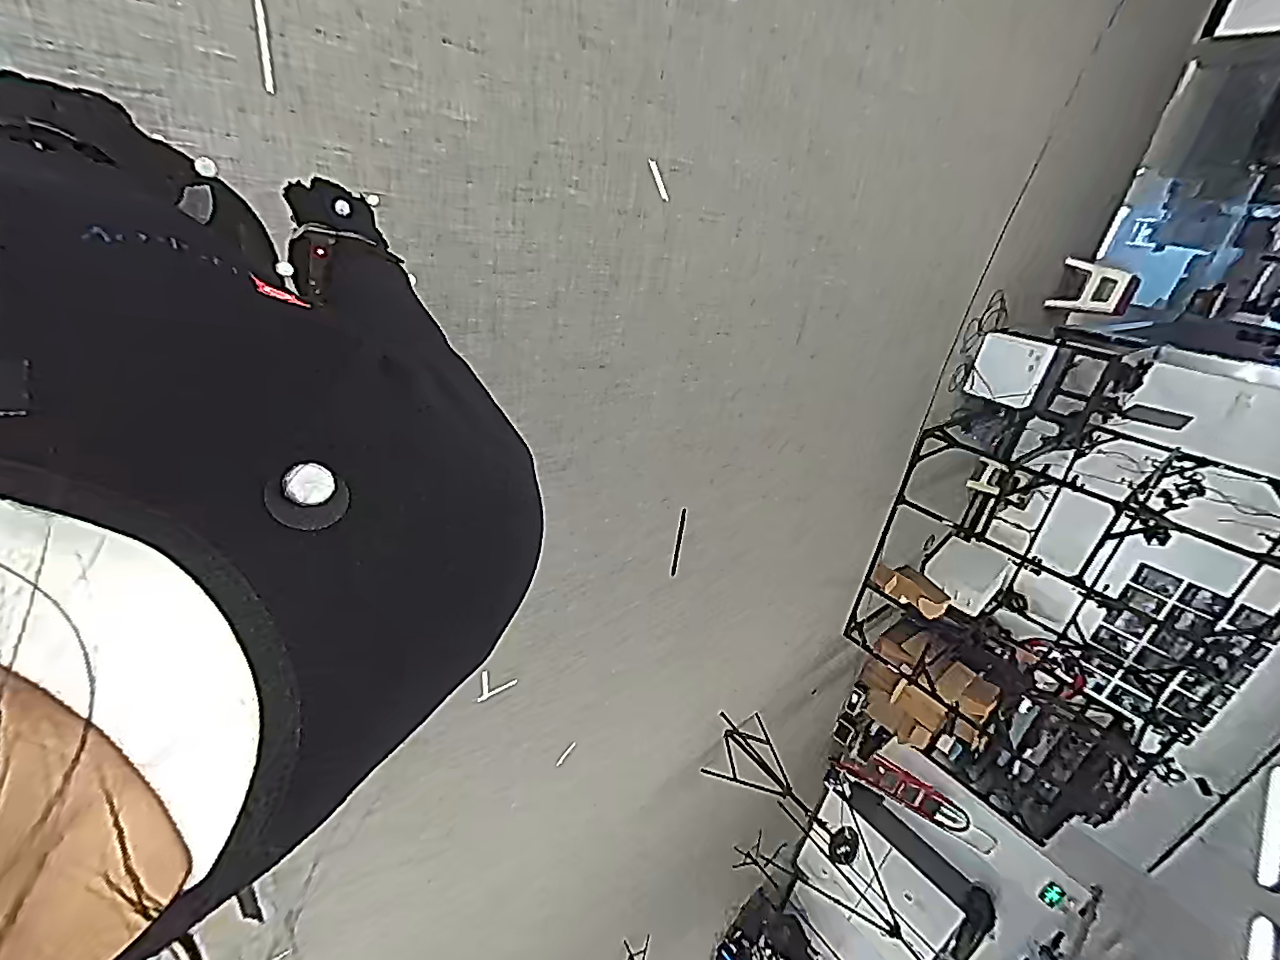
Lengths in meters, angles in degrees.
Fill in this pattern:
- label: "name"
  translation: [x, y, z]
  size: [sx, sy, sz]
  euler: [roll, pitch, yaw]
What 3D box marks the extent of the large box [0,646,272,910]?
- label: "large box"
  translation: [-1.179, 0.677, 1.294]
  size: [0.408, 0.320, 0.320]
  euler: [-18, 128, -38]
